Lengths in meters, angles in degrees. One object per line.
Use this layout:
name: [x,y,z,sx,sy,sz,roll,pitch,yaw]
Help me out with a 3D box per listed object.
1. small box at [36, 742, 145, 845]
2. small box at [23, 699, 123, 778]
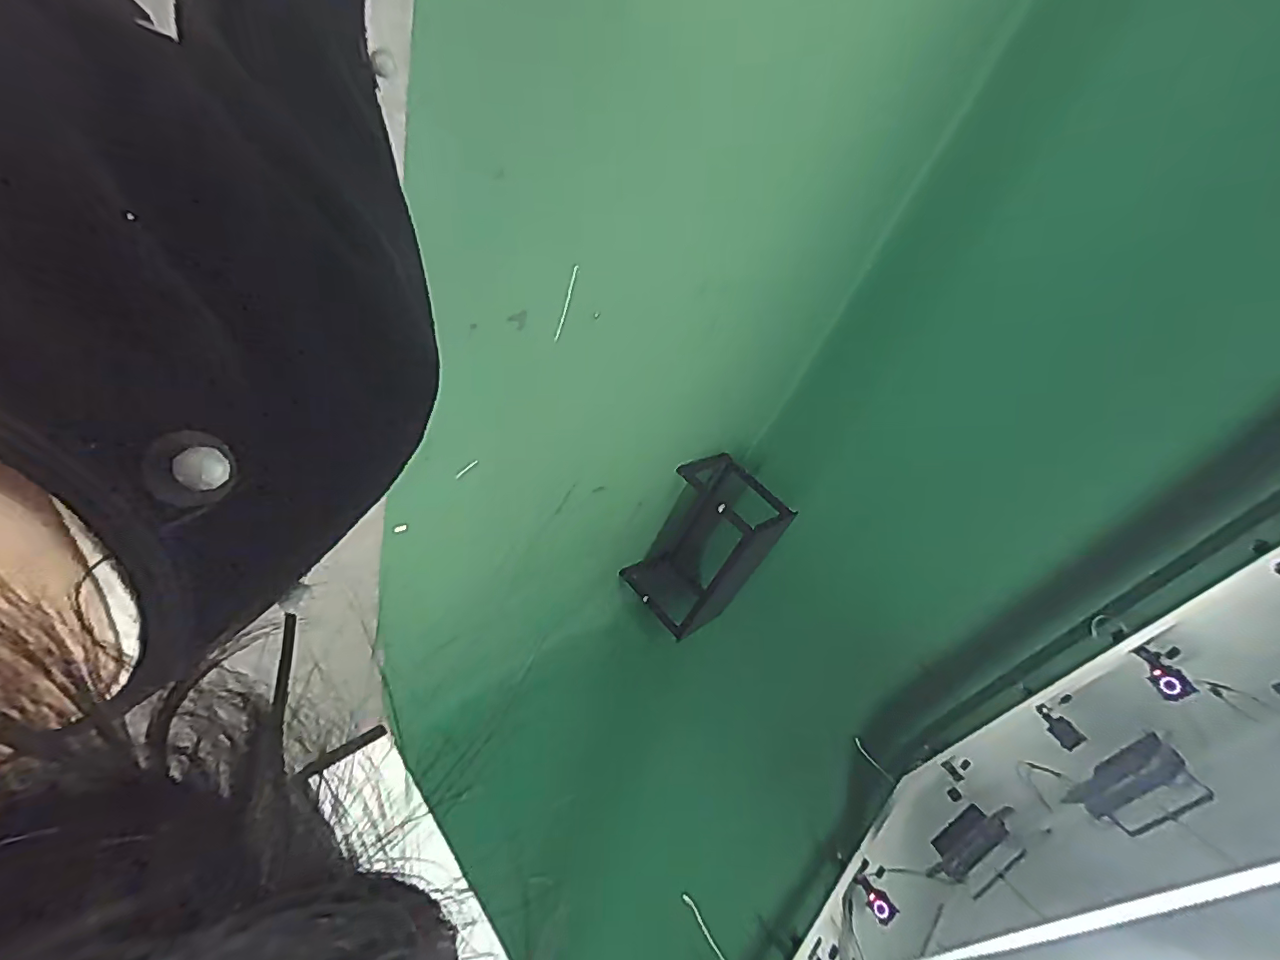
small box: [-1.586,0.900,1.564,0.179,0.176,0.168,-21,147,-41]
small box: [-1.695,0.790,1.621,0.168,0.176,0.179,-21,146,-40]
